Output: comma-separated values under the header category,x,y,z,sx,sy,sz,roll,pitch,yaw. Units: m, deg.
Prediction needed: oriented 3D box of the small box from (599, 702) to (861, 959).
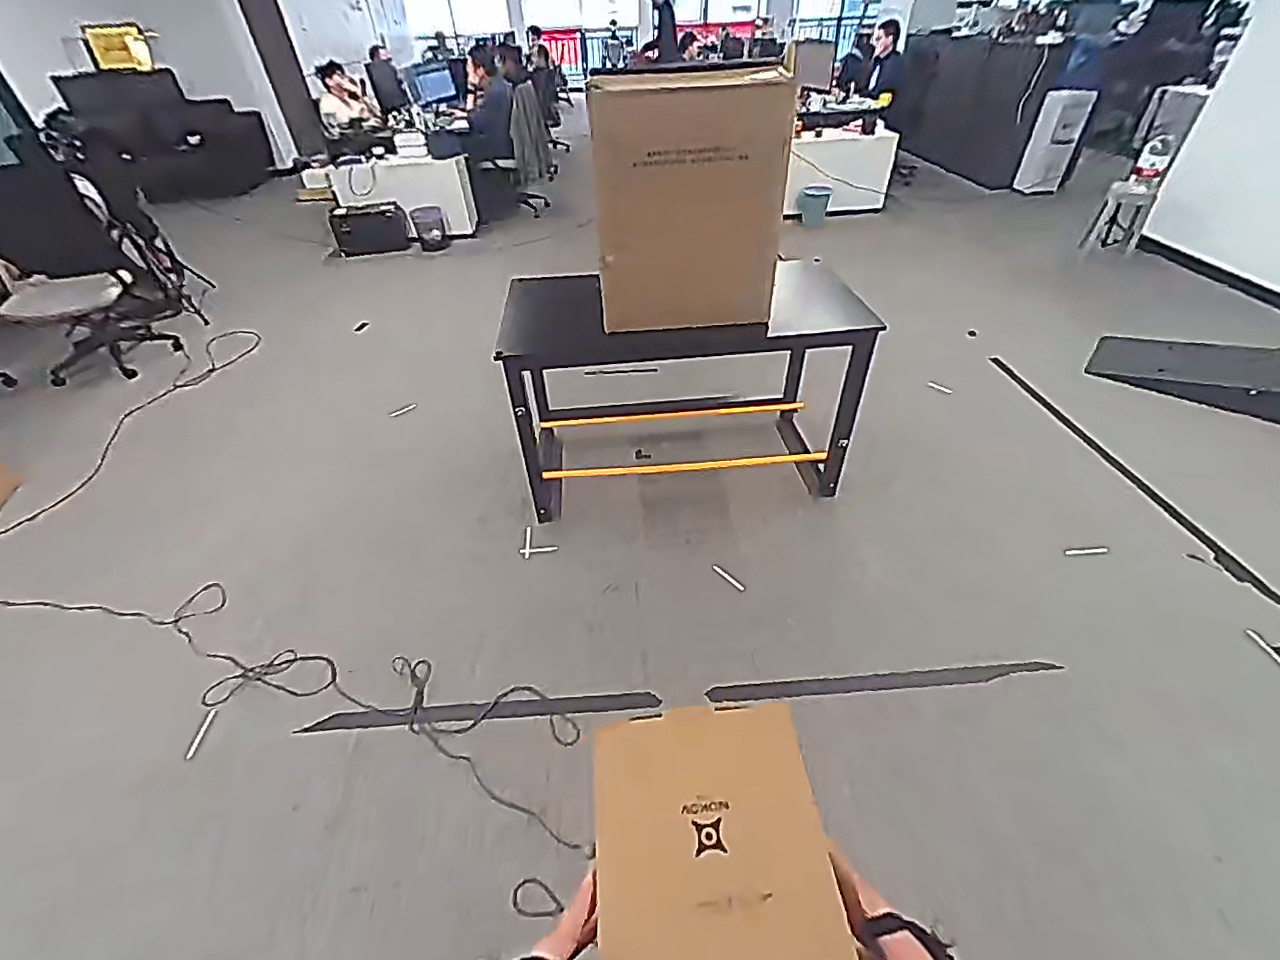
category,x,y,z,sx,sy,sz,roll,pitch,yaw
small box,0.055,0.312,0.451,0.168,0.176,0.179,-6,44,-2
